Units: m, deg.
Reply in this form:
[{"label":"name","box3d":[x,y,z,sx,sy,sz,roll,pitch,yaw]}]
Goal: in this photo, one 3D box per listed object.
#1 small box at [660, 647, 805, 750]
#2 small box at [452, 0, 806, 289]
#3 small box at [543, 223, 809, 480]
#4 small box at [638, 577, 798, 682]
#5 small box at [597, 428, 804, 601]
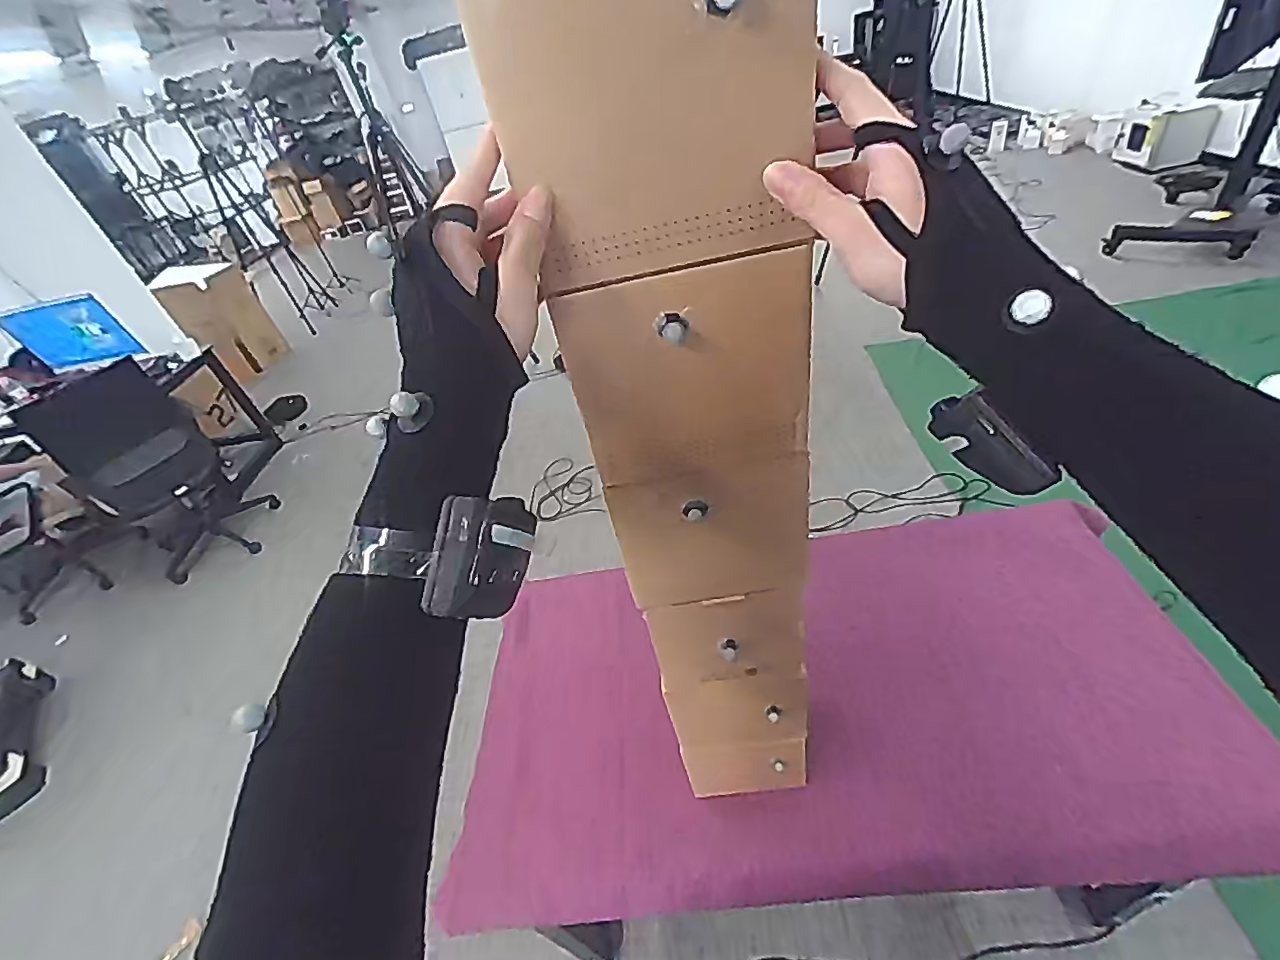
[{"label":"small box","box3d":[0.124,0.254,0.756,0.179,0.176,0.168,-10,39,7]},{"label":"small box","box3d":[0.004,-0.246,0.355,0.179,0.176,0.168,-10,39,6]},{"label":"small box","box3d":[0.033,-0.121,0.456,0.179,0.176,0.168,-10,38,5]},{"label":"small box","box3d":[0.092,0.127,0.660,0.168,0.176,0.179,-10,39,5]},{"label":"small box","box3d":[0.062,0.005,0.555,0.179,0.176,0.168,-10,39,5]}]
